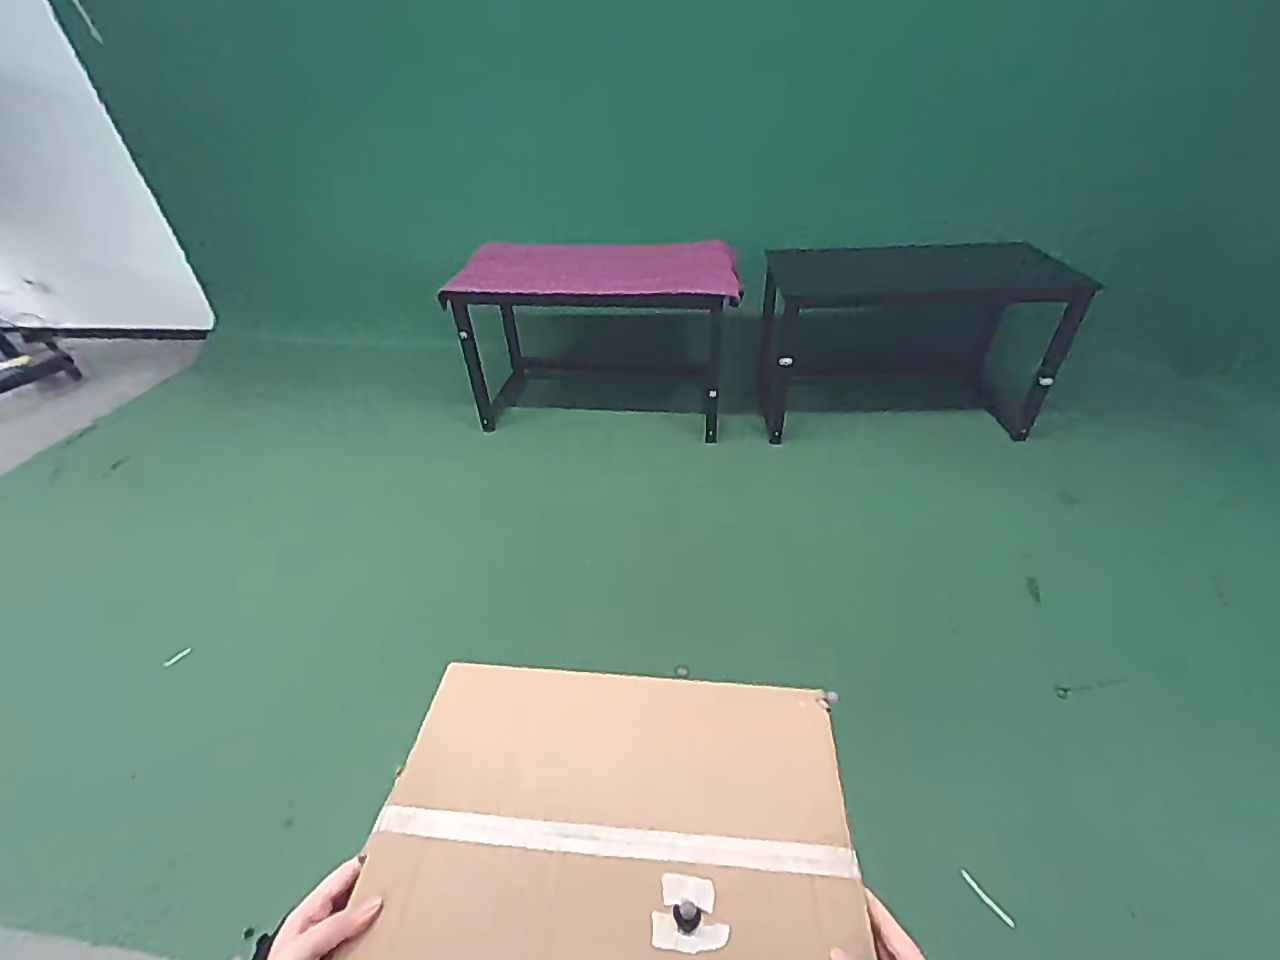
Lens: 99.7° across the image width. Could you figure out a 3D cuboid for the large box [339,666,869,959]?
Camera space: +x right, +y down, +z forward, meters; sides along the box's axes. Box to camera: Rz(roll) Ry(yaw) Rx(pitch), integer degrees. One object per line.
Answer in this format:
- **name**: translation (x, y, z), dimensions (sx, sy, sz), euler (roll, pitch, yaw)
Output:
- **large box**: translation (-0.021, 0.426, 0.561), dimensions (0.408, 0.320, 0.320), euler (3, 38, 4)
